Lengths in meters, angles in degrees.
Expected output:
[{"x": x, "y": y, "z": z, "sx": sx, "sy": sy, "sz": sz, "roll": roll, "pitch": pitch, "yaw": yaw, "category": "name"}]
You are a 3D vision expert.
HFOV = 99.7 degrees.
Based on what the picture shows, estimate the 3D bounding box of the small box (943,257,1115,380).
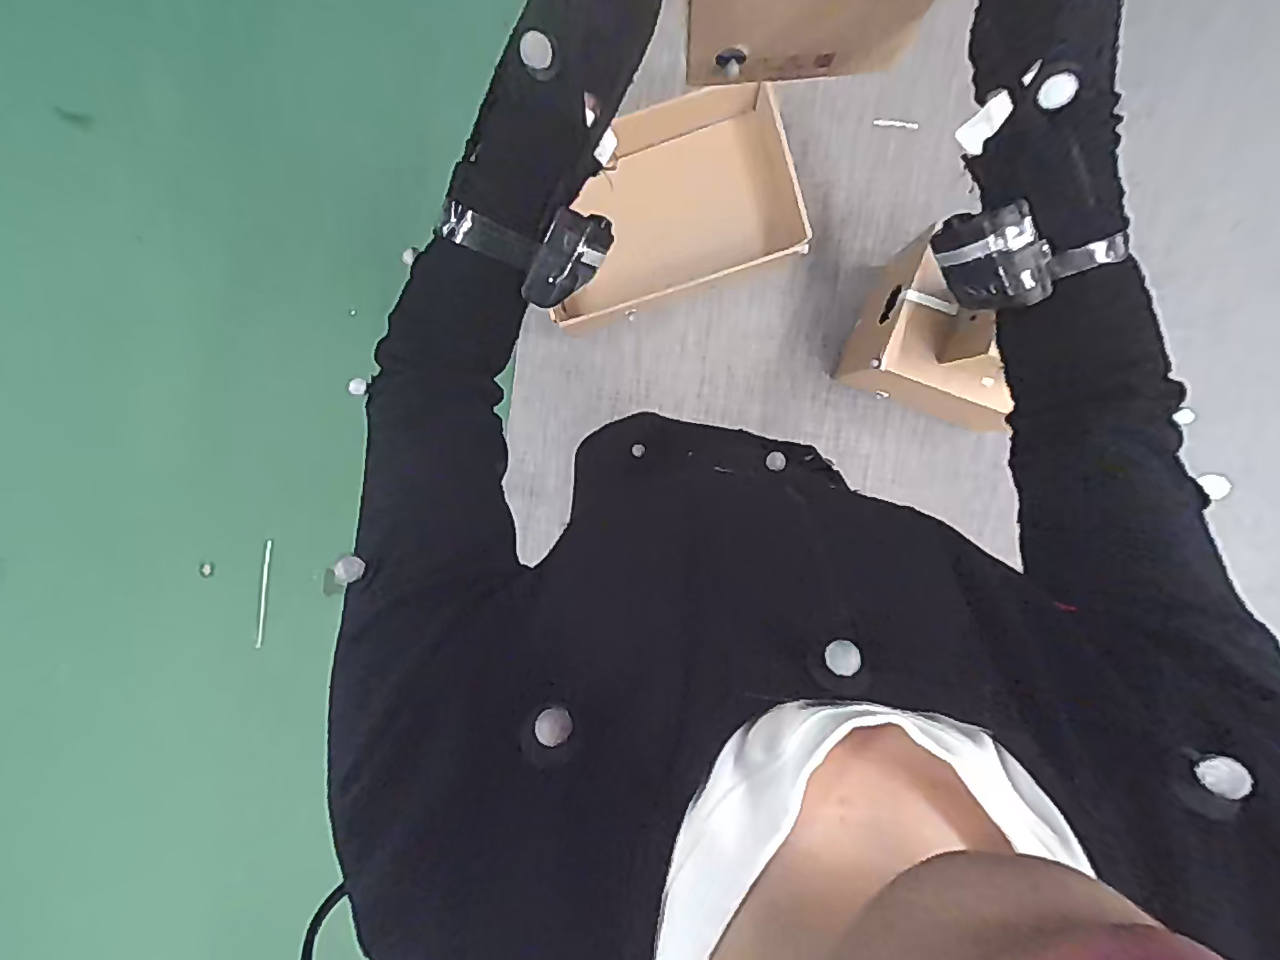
[{"x": 0.702, "y": -0.287, "z": 1.000, "sx": 0.179, "sy": 0.176, "sz": 0.168, "roll": 15, "pitch": 97, "yaw": 3, "category": "small box"}]

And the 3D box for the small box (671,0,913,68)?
[{"x": 0.104, "y": -0.399, "z": 0.339, "sx": 0.168, "sy": 0.176, "sz": 0.179, "roll": 0, "pitch": 91, "yaw": 1, "category": "small box"}]
